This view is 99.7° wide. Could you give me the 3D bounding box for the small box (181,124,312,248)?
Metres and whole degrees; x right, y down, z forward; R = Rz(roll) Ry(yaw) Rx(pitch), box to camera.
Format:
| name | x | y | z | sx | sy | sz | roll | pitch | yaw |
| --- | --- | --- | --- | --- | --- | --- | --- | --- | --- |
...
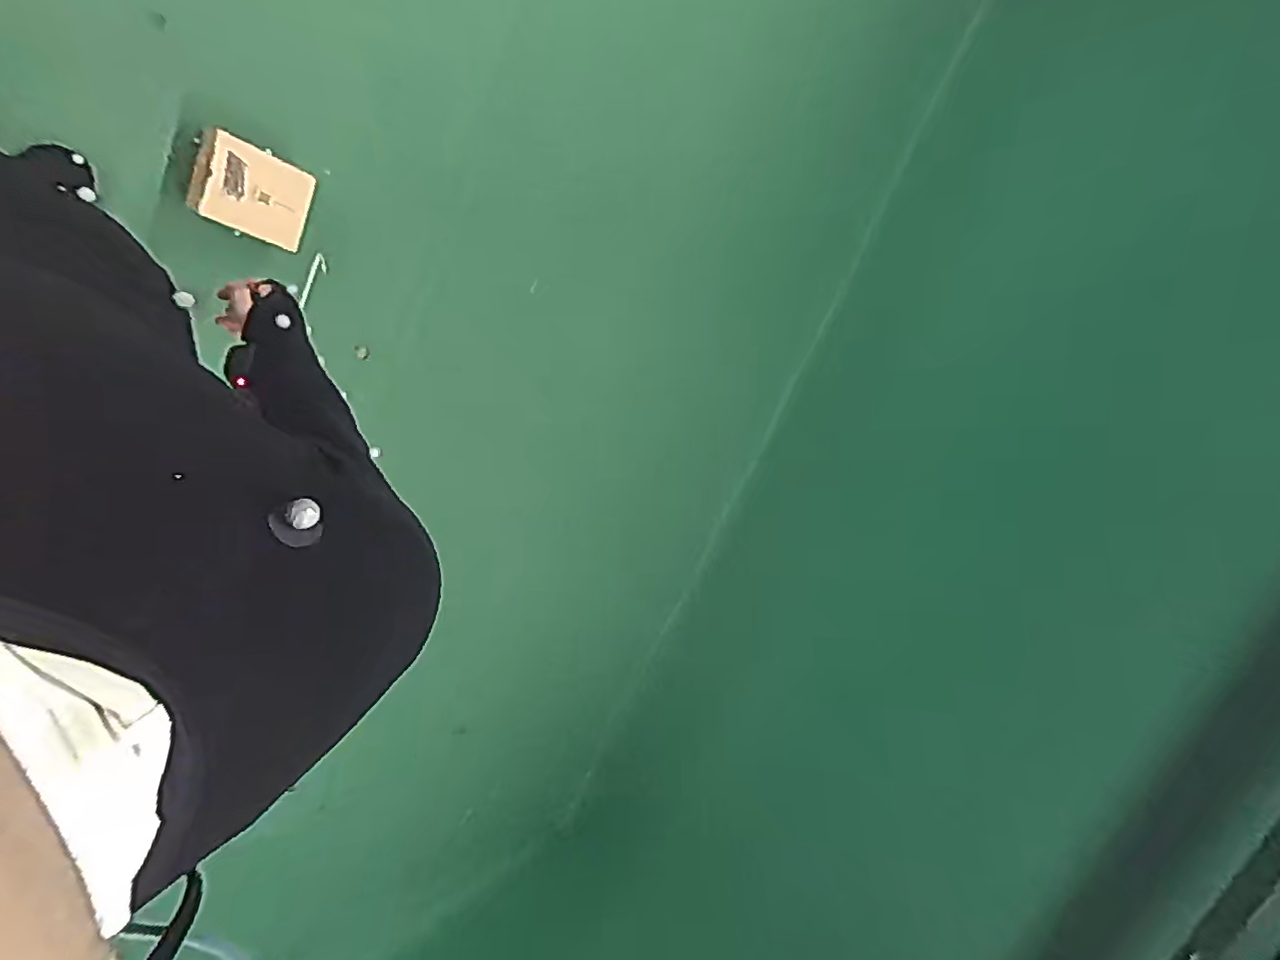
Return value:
| name | x | y | z | sx | sy | sz | roll | pitch | yaw |
| --- | --- | --- | --- | --- | --- | --- | --- | --- | --- |
| small box | -0.840 | -0.621 | 1.149 | 0.179 | 0.176 | 0.168 | 12 | 106 | -51 |
